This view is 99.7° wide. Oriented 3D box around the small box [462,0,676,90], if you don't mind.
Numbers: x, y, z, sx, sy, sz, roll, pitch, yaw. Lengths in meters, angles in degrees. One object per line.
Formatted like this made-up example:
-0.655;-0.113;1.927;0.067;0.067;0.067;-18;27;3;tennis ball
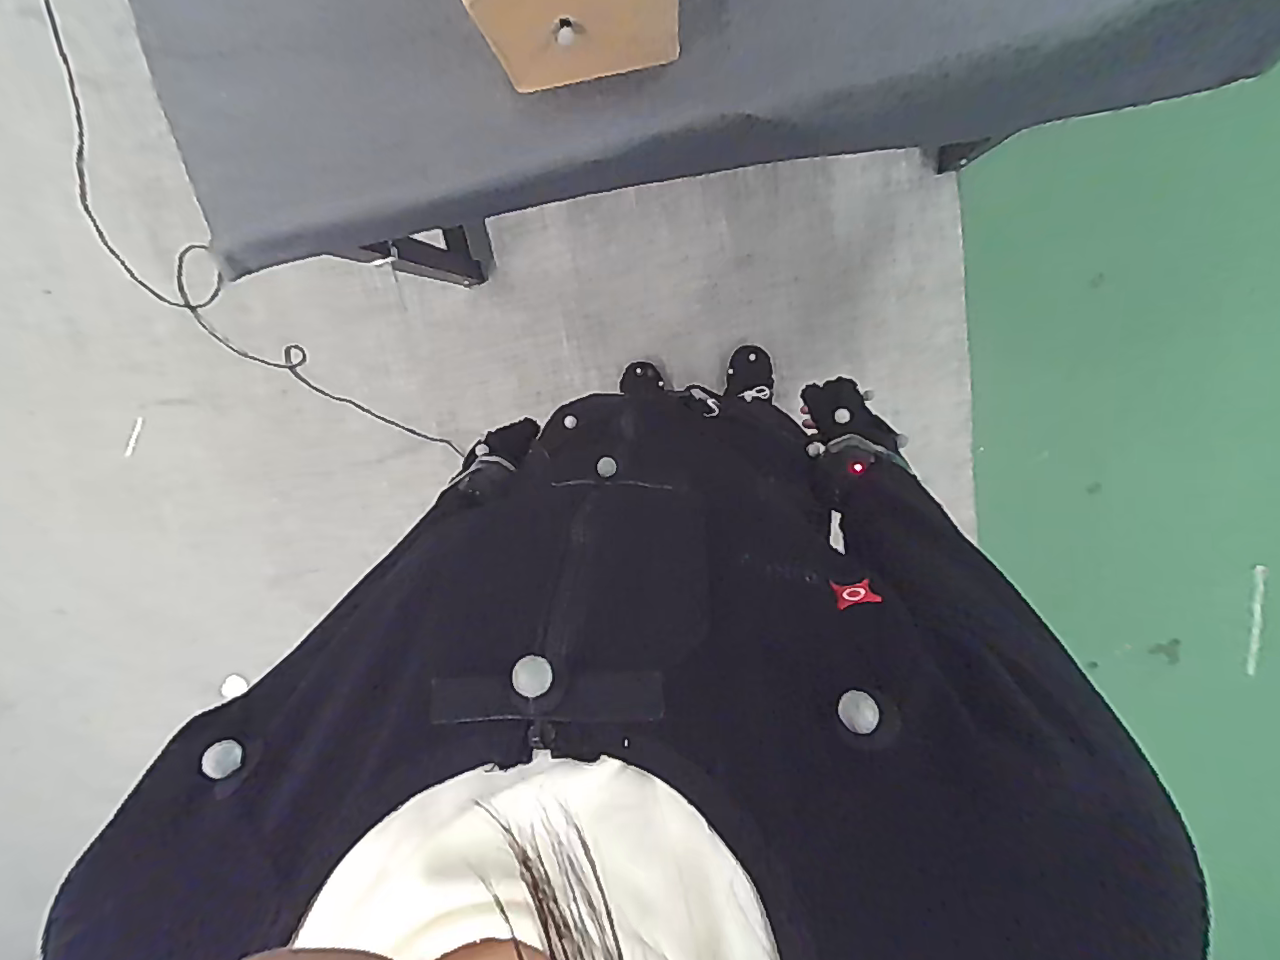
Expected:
-0.064;-0.488;0.484;0.179;0.176;0.168;-7;103;6;small box
